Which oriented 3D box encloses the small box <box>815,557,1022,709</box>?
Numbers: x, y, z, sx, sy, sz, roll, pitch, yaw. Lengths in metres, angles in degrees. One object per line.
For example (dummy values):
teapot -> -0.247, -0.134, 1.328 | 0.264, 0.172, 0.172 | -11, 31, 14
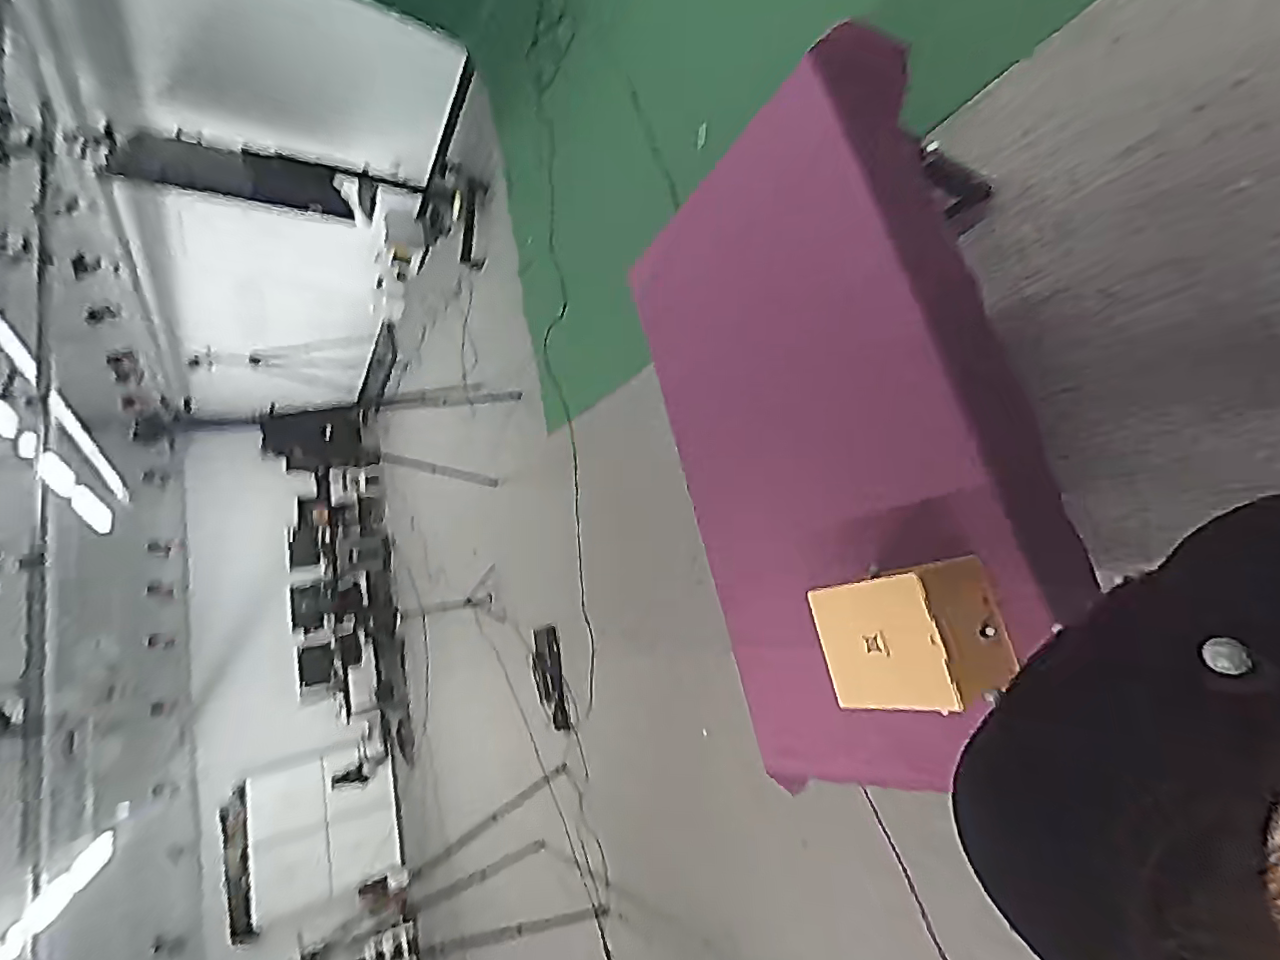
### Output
small box -> 0.386, 0.212, 0.759 | 0.179, 0.176, 0.168 | -31, 68, 50
